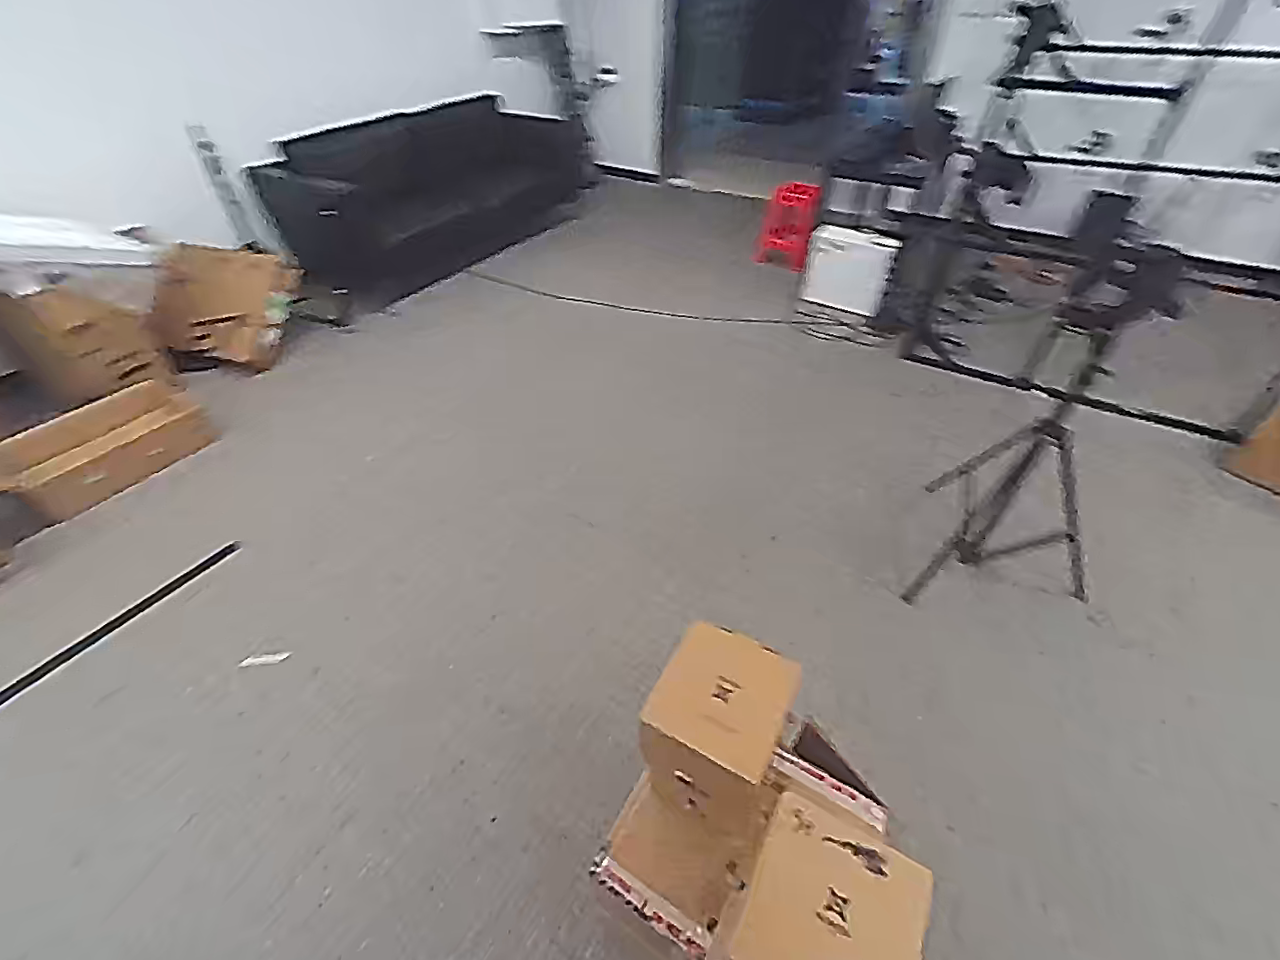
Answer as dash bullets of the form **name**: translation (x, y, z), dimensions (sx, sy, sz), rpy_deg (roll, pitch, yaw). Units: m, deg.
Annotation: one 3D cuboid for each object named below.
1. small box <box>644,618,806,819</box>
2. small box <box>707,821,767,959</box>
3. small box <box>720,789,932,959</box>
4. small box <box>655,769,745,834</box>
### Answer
- **small box**: translation (0.119, 0.339, 0.775), dimensions (0.168, 0.176, 0.179), rpy_deg (20, 49, 24)
- **small box**: translation (0.198, 0.609, 0.727), dimensions (0.168, 0.176, 0.179), rpy_deg (21, 49, 21)
- **small box**: translation (0.198, 0.497, 0.606), dimensions (0.168, 0.176, 0.179), rpy_deg (22, 50, 22)
- **small box**: translation (0.130, 0.442, 0.902), dimensions (0.168, 0.176, 0.179), rpy_deg (21, 49, 24)
